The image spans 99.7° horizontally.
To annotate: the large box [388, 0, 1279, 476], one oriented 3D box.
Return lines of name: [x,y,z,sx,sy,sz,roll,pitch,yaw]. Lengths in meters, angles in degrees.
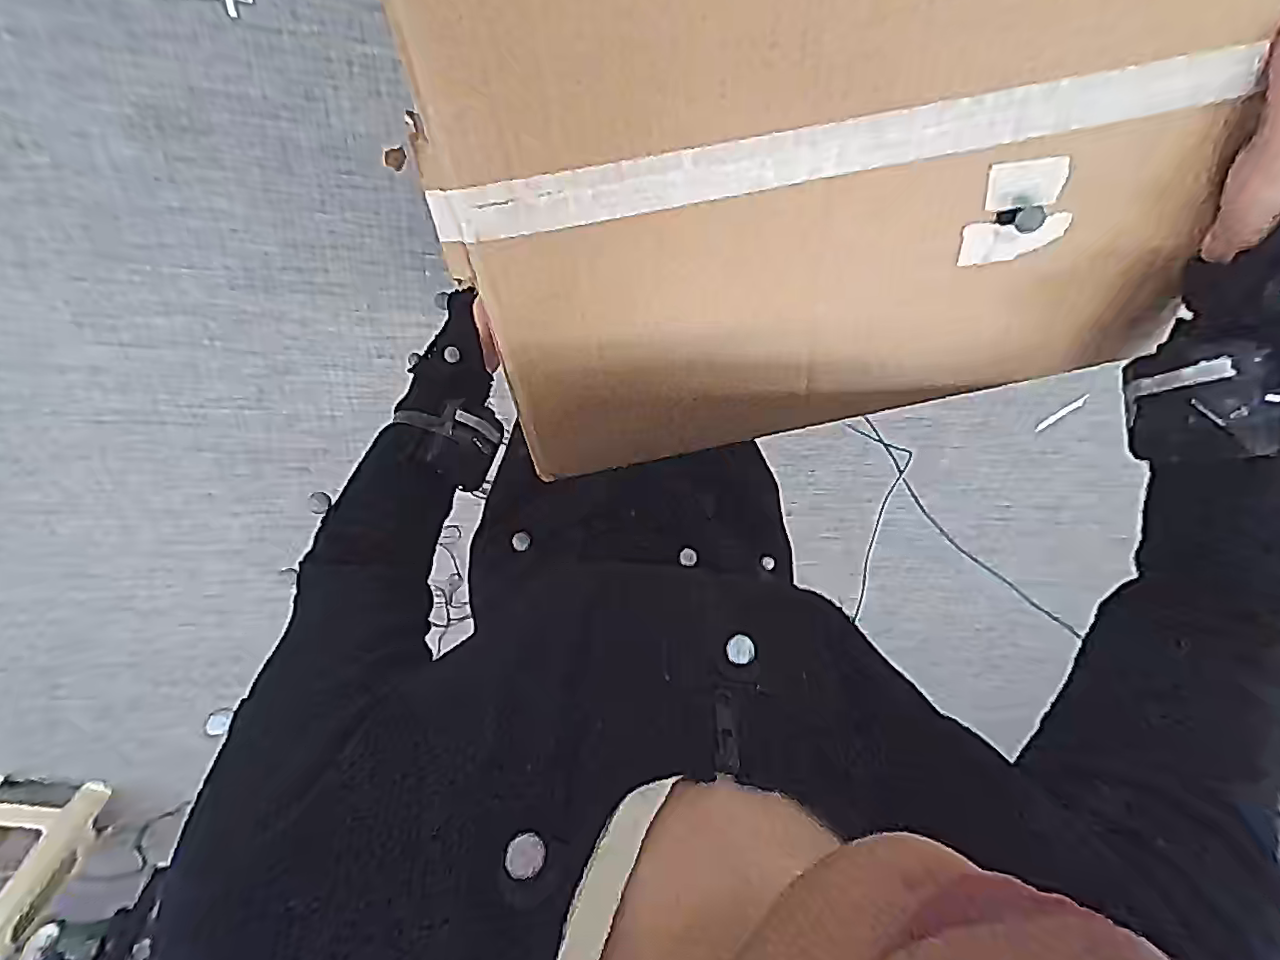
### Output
large box: [0.083,-0.253,0.362,0.408,0.320,0.320,-13,131,-4]
